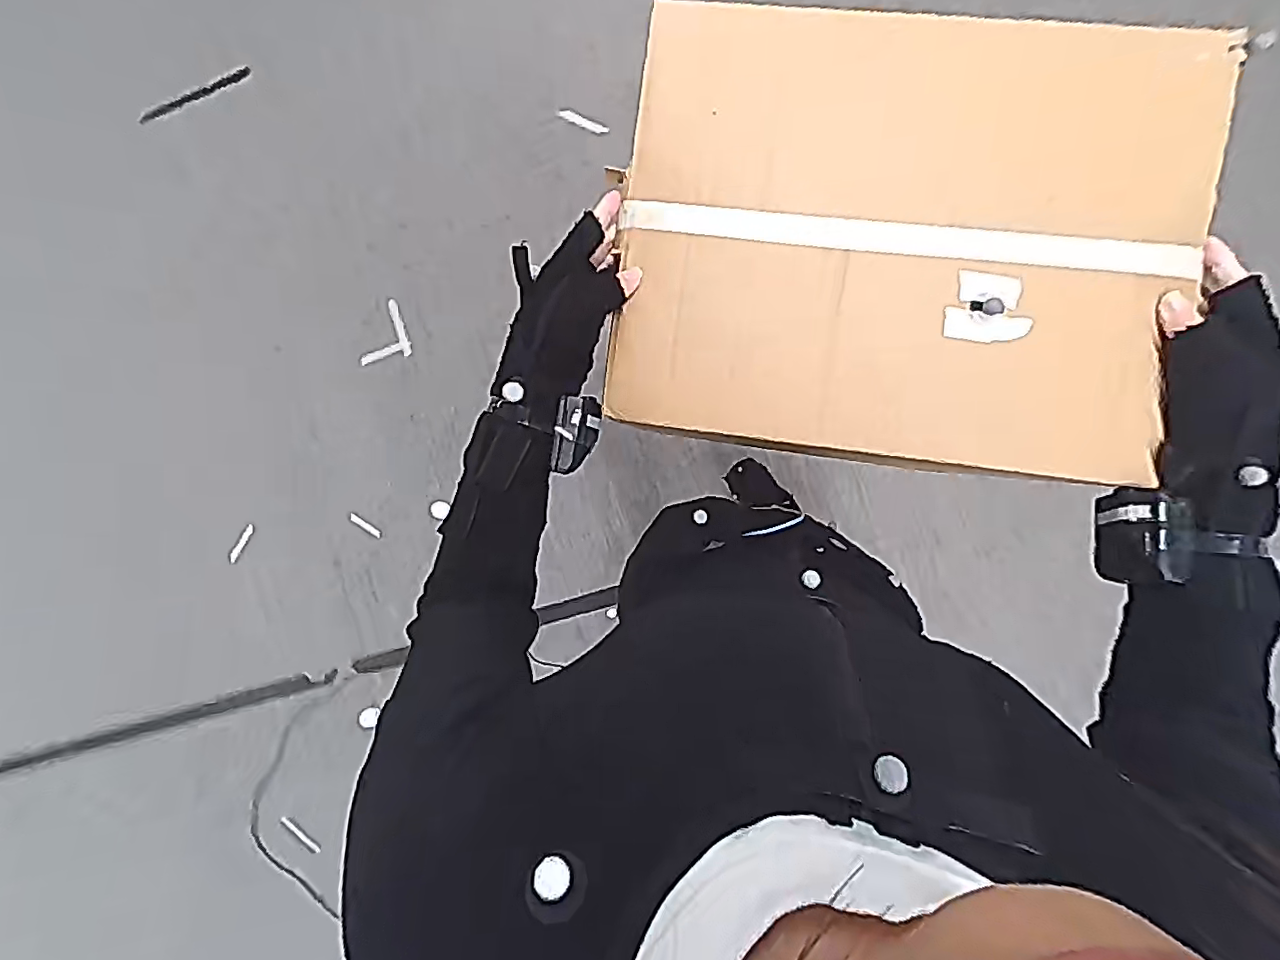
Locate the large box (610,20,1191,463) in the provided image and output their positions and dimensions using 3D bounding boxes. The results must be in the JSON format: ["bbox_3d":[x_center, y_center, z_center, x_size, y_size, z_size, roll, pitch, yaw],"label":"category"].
[{"bbox_3d":[0.195,-0.190,0.557,0.408,0.320,0.320,6,94,4],"label":"large box"}]
